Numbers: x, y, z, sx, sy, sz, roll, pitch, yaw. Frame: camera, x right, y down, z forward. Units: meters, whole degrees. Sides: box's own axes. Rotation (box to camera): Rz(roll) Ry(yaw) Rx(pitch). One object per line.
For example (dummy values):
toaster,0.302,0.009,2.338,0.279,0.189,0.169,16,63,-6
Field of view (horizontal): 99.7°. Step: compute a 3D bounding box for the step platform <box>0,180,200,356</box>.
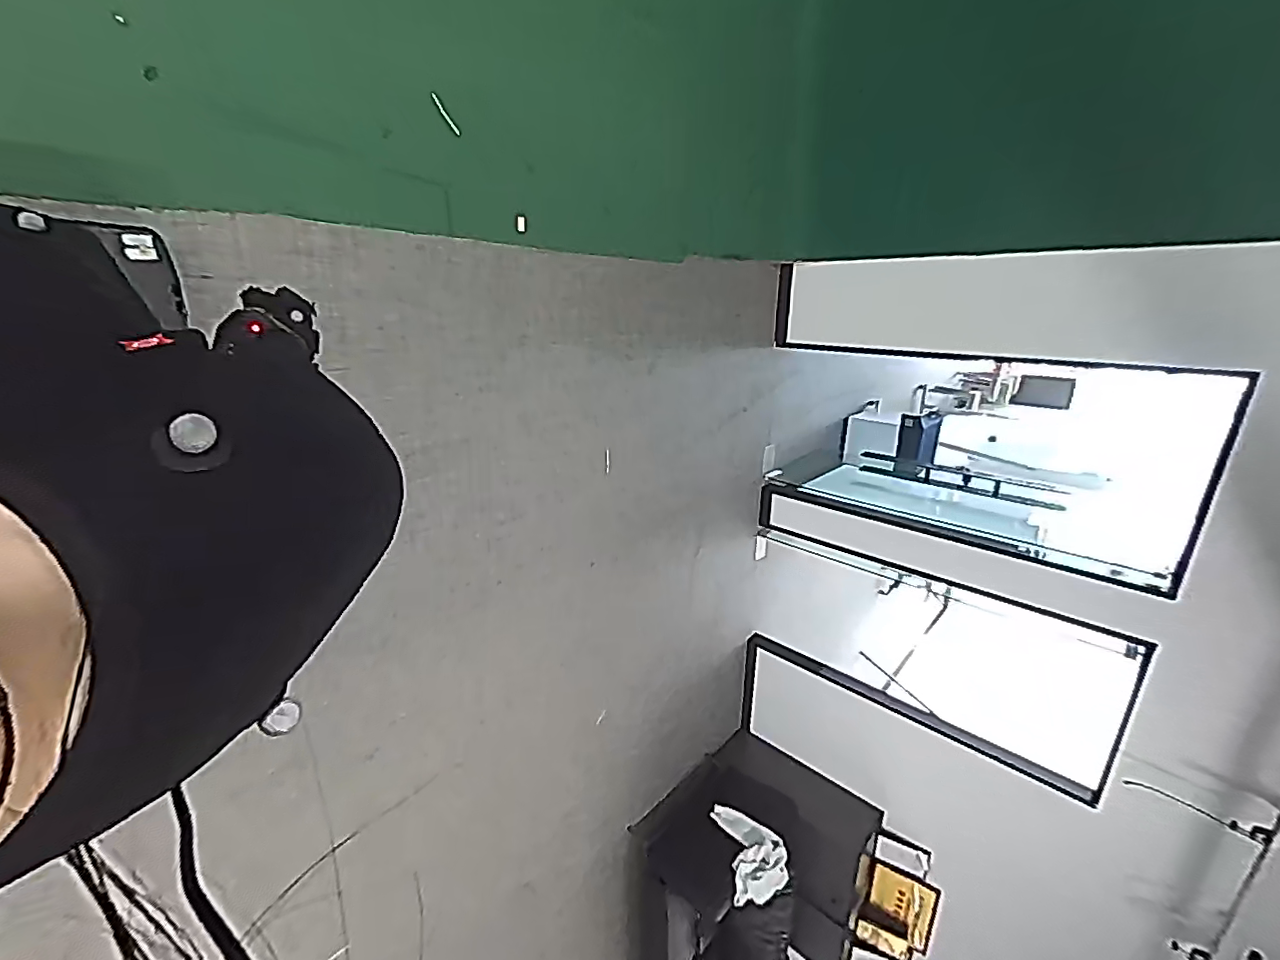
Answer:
step platform,-1.117,-0.323,0.813,0.684,0.204,0.286,-18,117,-44
